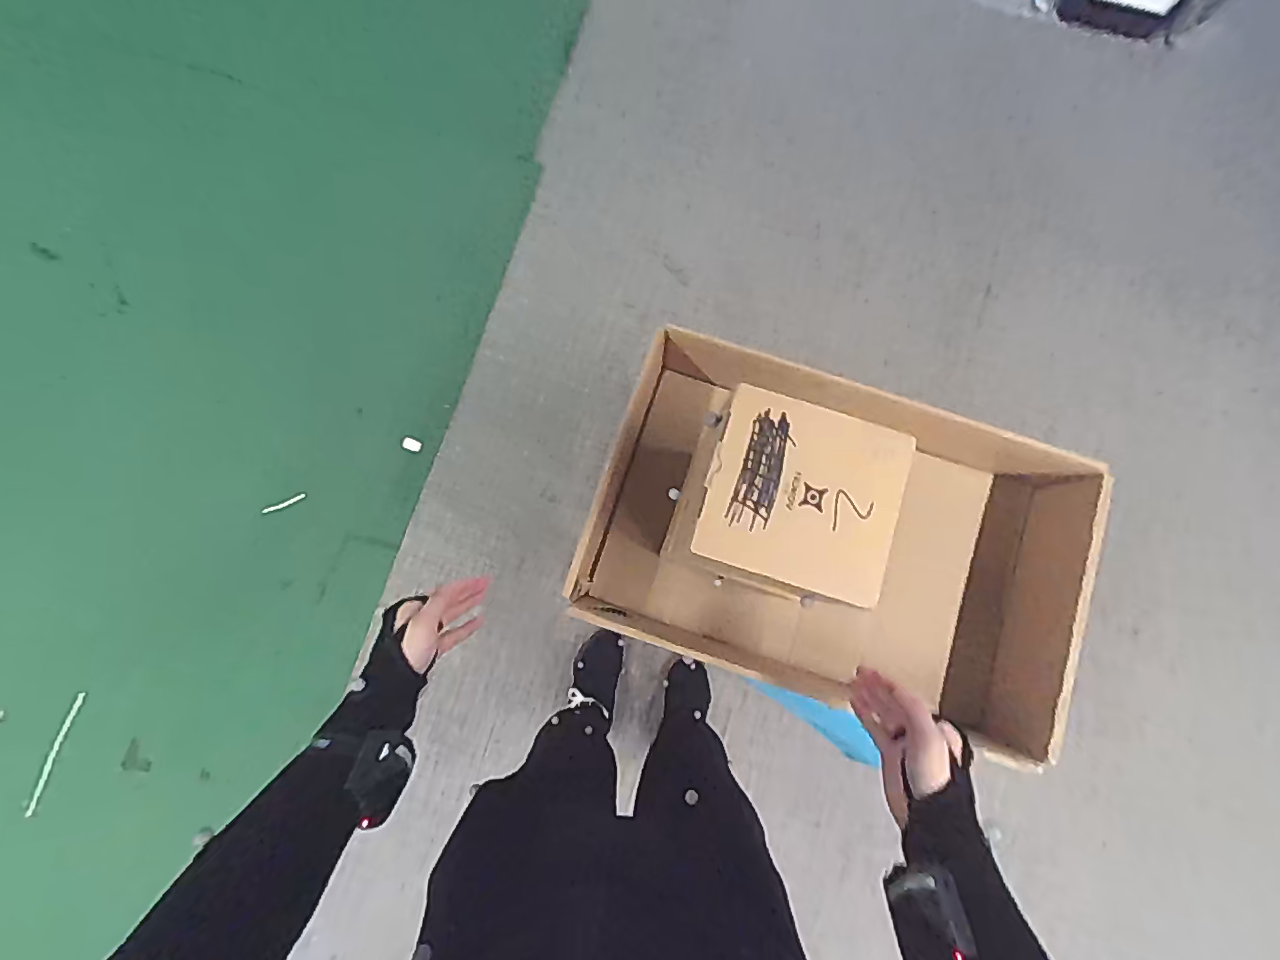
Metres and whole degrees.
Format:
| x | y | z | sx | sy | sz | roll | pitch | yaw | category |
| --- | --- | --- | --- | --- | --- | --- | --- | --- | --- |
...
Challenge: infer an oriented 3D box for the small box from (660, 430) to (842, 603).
| x | y | z | sx | sy | sz | roll | pitch | yaw | category |
| --- | --- | --- | --- | --- | --- | --- | --- | --- | --- |
| 0.137 | 0.052 | 0.727 | 0.179 | 0.176 | 0.168 | 19 | 81 | 1 | small box |
